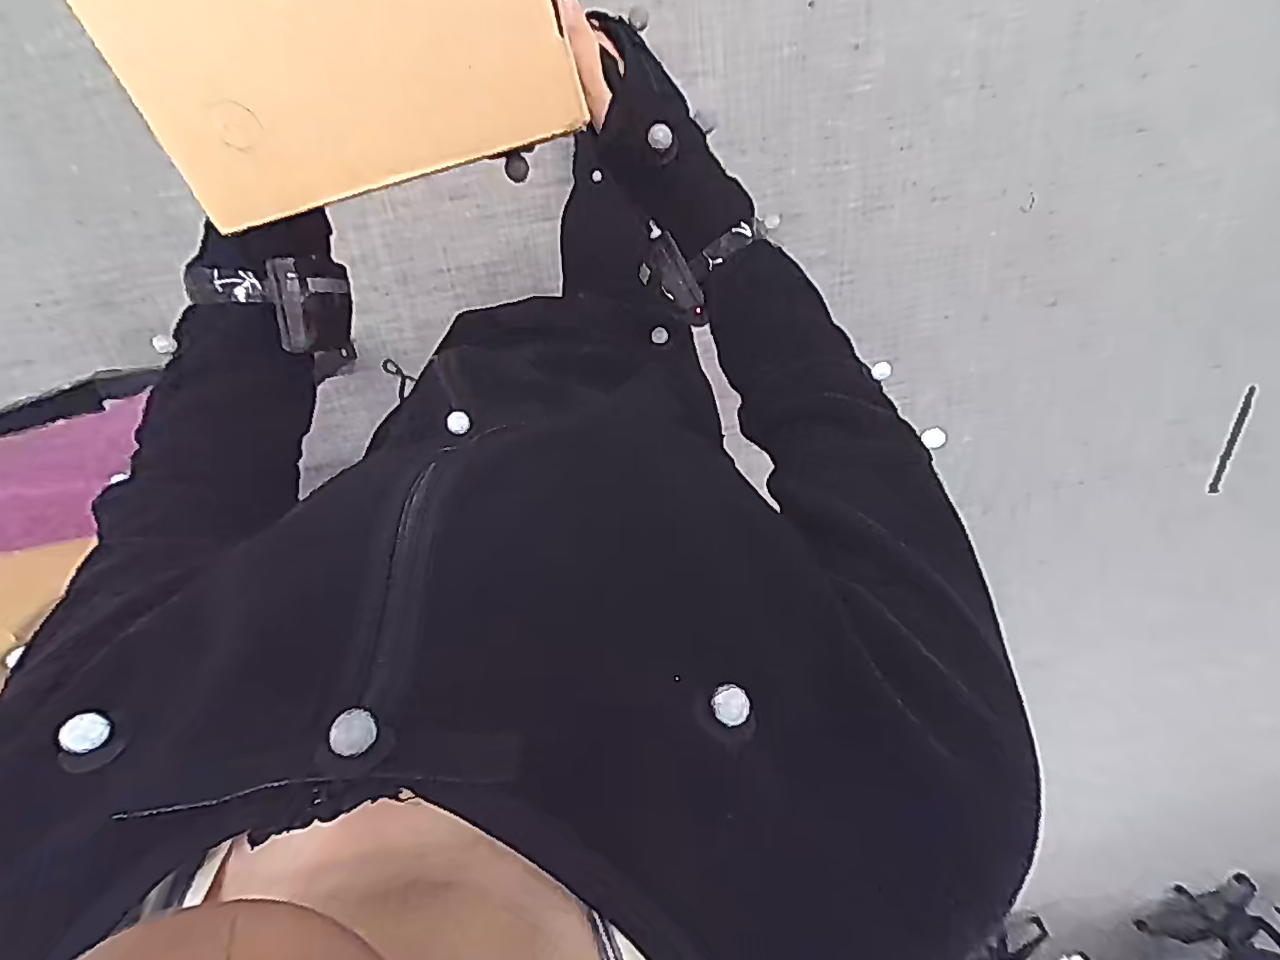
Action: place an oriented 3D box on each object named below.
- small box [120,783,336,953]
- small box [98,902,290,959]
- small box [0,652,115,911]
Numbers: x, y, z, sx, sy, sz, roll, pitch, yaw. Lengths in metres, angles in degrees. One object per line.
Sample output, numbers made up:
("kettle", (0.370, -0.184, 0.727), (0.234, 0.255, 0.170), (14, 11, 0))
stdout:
("small box", (-0.593, 0.582, 0.809), (0.168, 0.176, 0.179), (-8, 118, -3))
("small box", (-0.568, 0.655, 0.663), (0.179, 0.176, 0.168), (-7, 119, -3))
("small box", (-0.618, 0.274, 0.454), (0.168, 0.176, 0.179), (-7, 119, -3))
